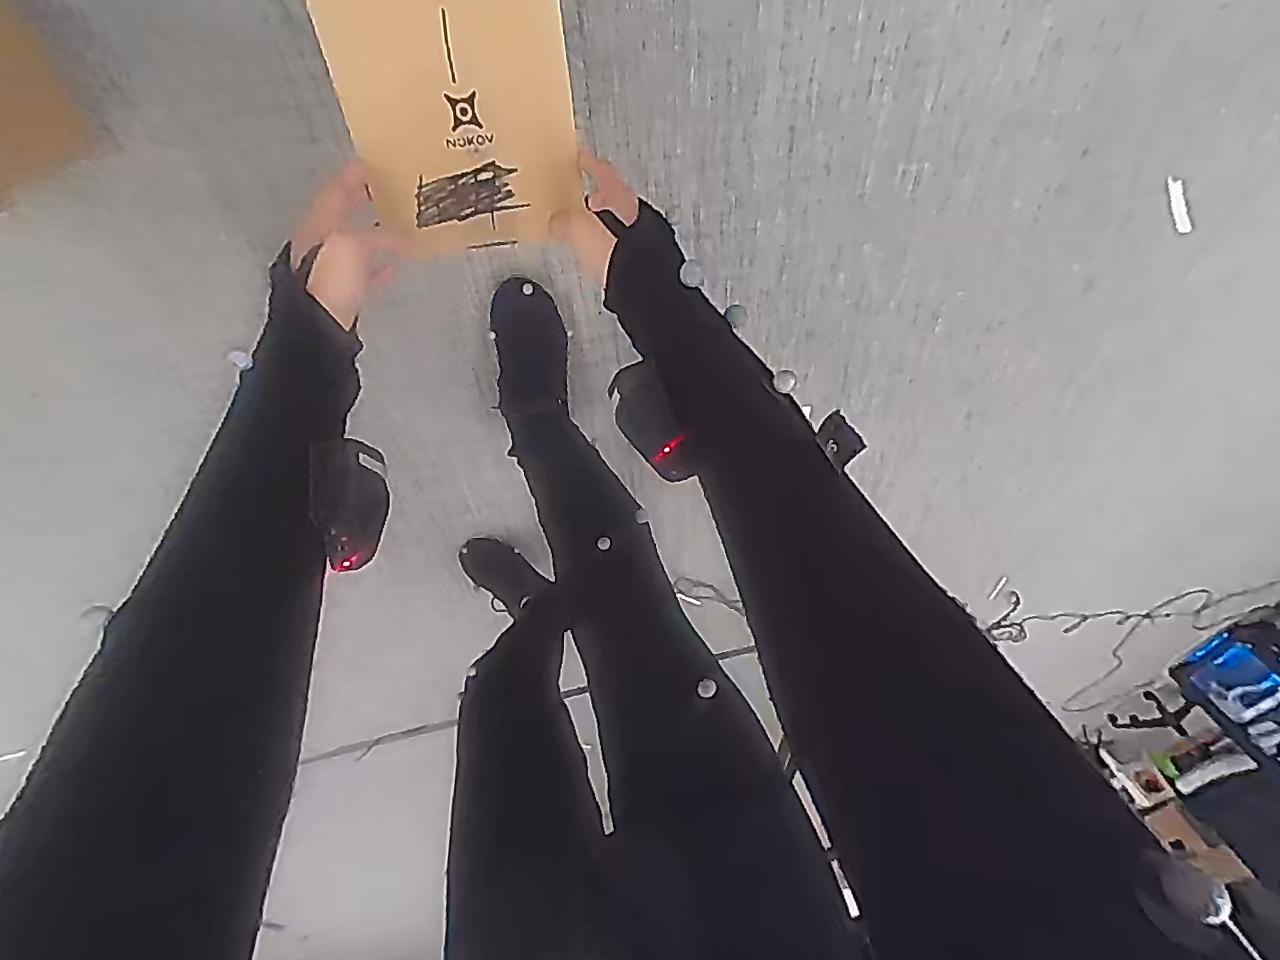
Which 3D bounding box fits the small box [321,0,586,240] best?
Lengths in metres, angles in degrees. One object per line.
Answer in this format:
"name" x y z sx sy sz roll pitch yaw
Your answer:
"small box" -0.146 -0.335 0.470 0.168 0.176 0.179 -11 134 -8
